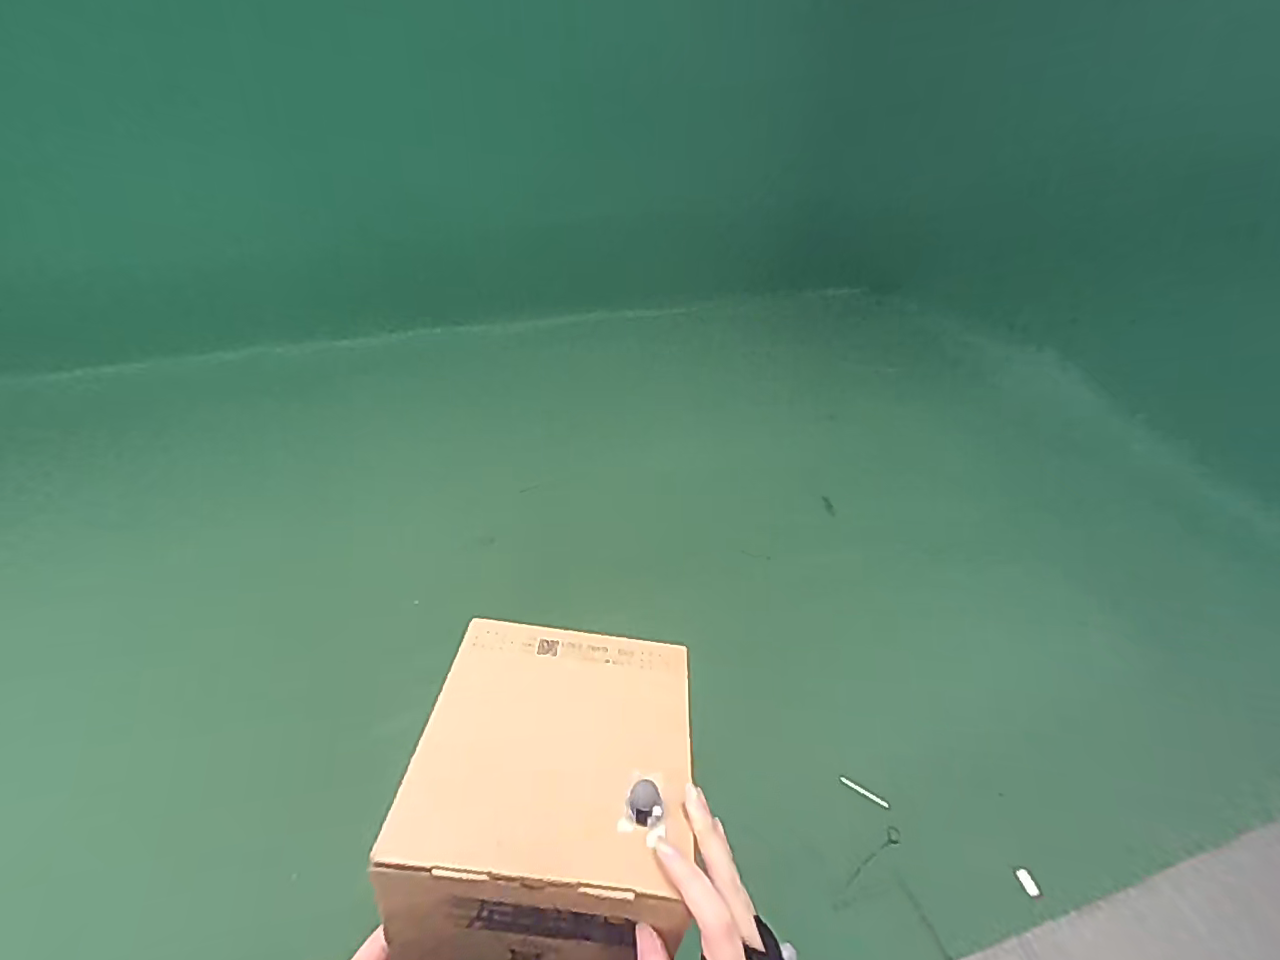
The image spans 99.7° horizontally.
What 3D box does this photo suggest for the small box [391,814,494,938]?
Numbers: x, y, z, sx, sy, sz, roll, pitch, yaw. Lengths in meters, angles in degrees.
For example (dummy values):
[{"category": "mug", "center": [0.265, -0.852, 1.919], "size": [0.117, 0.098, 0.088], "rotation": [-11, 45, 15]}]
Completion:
[{"category": "small box", "center": [-0.417, 0.855, 1.167], "size": [0.179, 0.176, 0.168], "rotation": [-10, 44, -10]}]
